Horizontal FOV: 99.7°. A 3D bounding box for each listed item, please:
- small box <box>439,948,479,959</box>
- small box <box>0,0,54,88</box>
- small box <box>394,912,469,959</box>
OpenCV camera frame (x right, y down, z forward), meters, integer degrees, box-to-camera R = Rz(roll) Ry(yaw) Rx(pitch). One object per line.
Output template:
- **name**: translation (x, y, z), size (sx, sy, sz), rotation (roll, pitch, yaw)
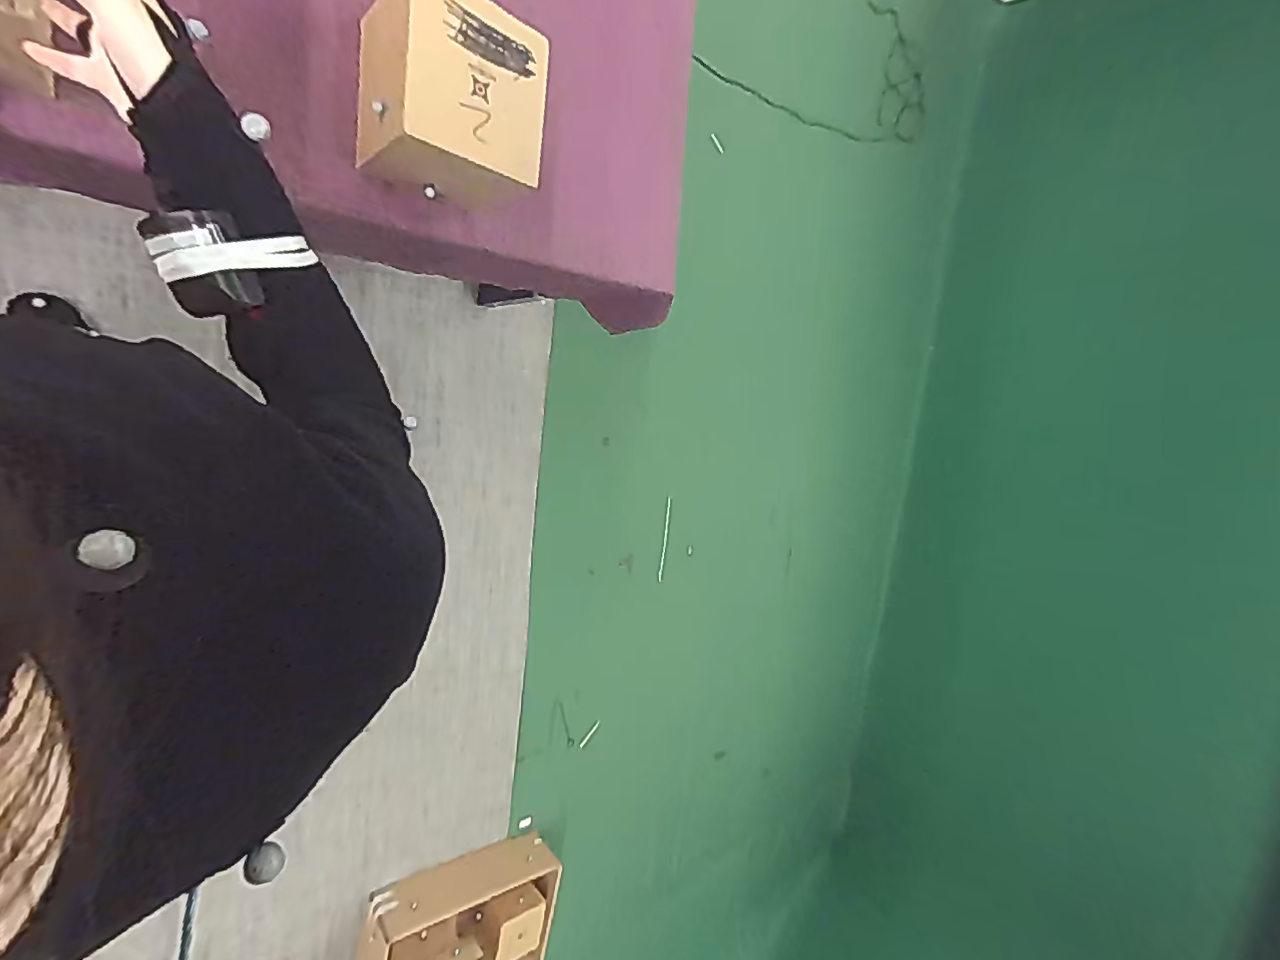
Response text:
- **small box**: translation (-0.538, 1.499, 1.544), size (0.168, 0.176, 0.179), rotation (7, 95, -44)
- **small box**: translation (-0.547, -0.418, 0.380), size (0.179, 0.176, 0.168), rotation (-2, 101, -42)
- **small box**: translation (-0.649, 1.487, 1.665), size (0.168, 0.176, 0.179), rotation (5, 95, -43)
